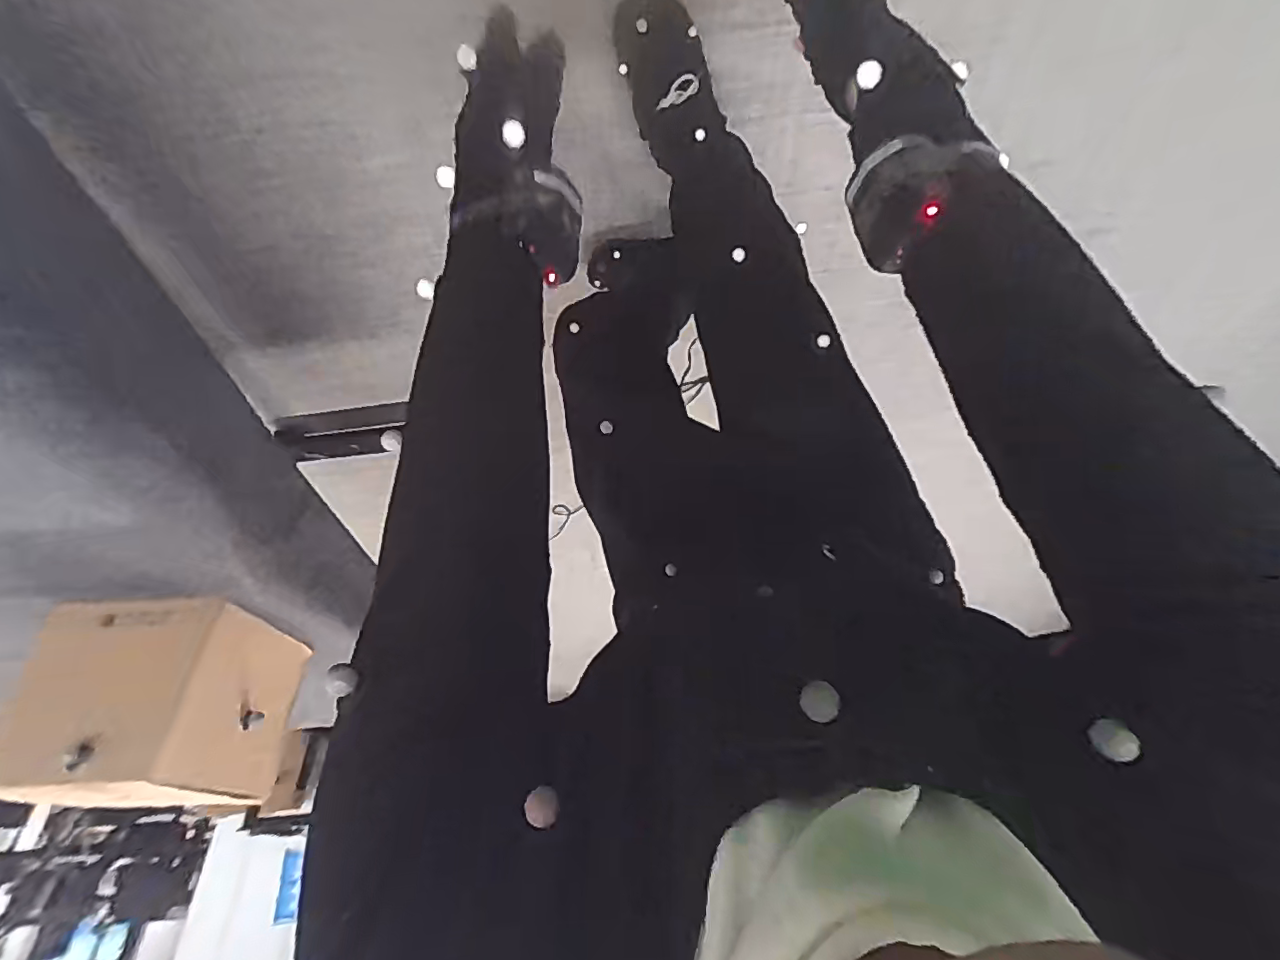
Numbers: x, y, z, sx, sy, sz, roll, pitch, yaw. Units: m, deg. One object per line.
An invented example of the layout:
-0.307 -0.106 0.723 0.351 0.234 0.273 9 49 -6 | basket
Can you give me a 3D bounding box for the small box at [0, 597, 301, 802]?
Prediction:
-0.496 0.232 0.563 0.168 0.176 0.179 -3 146 0 | small box
